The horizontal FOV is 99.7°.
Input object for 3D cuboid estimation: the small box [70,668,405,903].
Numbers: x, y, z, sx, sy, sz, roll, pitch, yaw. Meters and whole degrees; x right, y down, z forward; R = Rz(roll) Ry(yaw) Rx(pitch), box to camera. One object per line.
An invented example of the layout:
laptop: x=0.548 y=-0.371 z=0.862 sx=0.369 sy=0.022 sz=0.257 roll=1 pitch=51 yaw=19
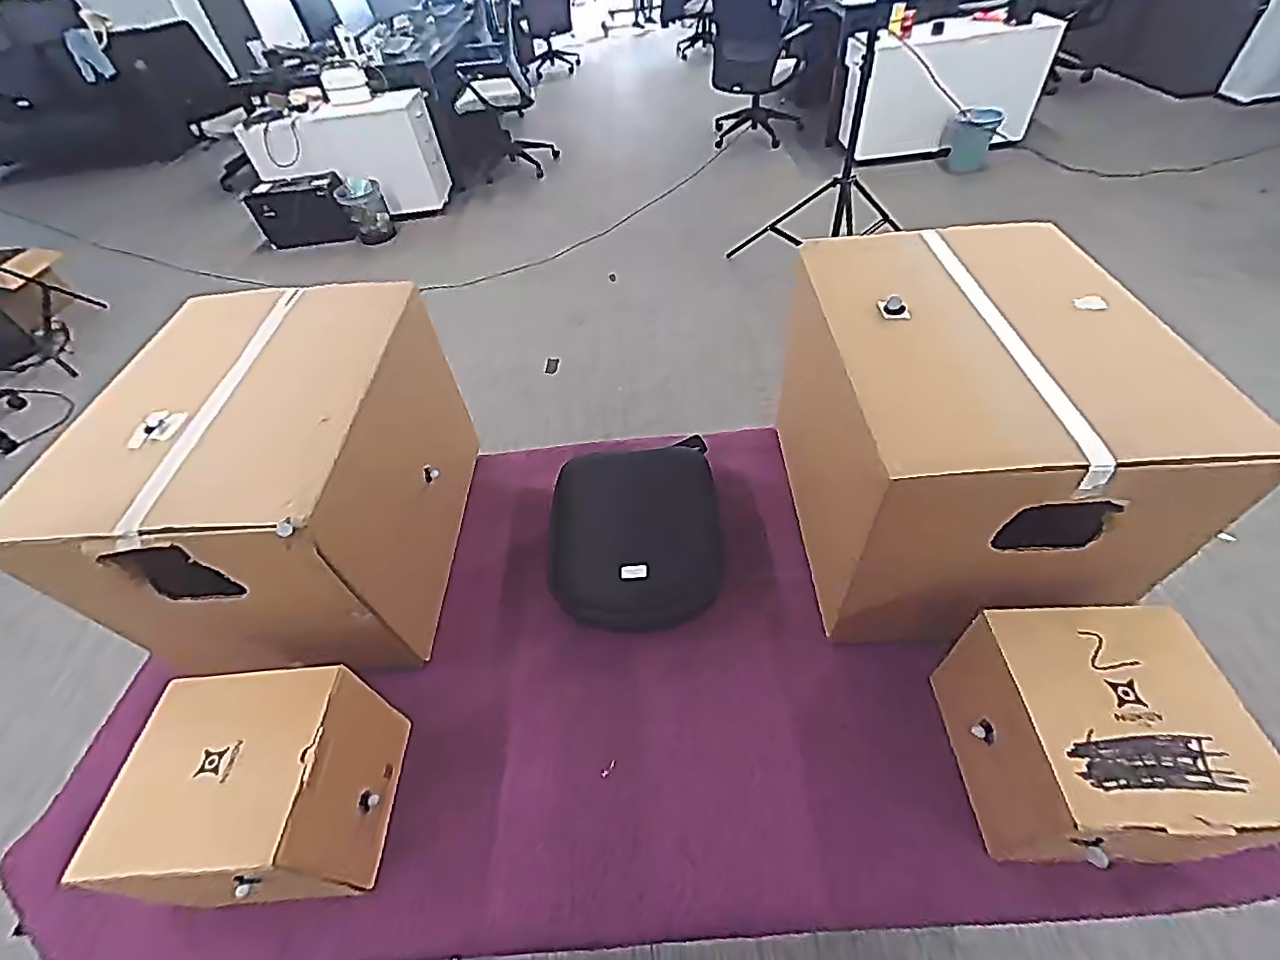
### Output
small box: x=-0.370 y=0.309 z=0.543 sx=0.179 sy=0.176 sz=0.168 roll=-6 pitch=47 yaw=1

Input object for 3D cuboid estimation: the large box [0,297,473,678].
large box: x=-0.439 y=0.009 z=0.722 sx=0.320 sy=0.320 sz=0.408 roll=-4 pitch=51 yaw=2
